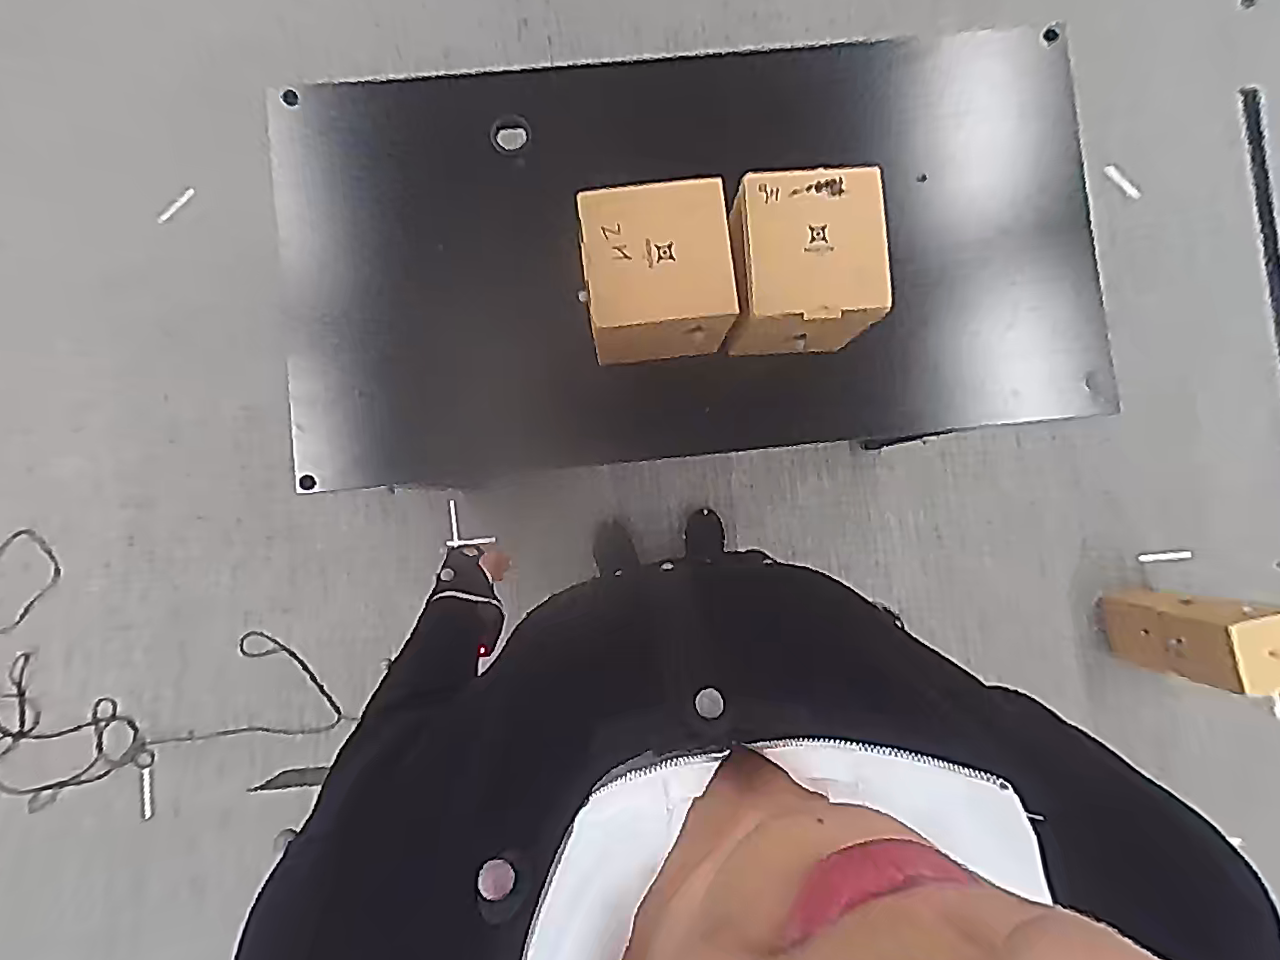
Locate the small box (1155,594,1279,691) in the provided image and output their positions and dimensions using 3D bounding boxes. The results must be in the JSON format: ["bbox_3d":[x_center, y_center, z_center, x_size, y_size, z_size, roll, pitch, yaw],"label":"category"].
[{"bbox_3d":[1.396,0.377,1.281,0.179,0.176,0.168,-12,87,0],"label":"small box"}]

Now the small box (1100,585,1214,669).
[{"bbox_3d":[1.383,0.384,1.443,0.168,0.176,0.179,-8,89,-1],"label":"small box"}]
